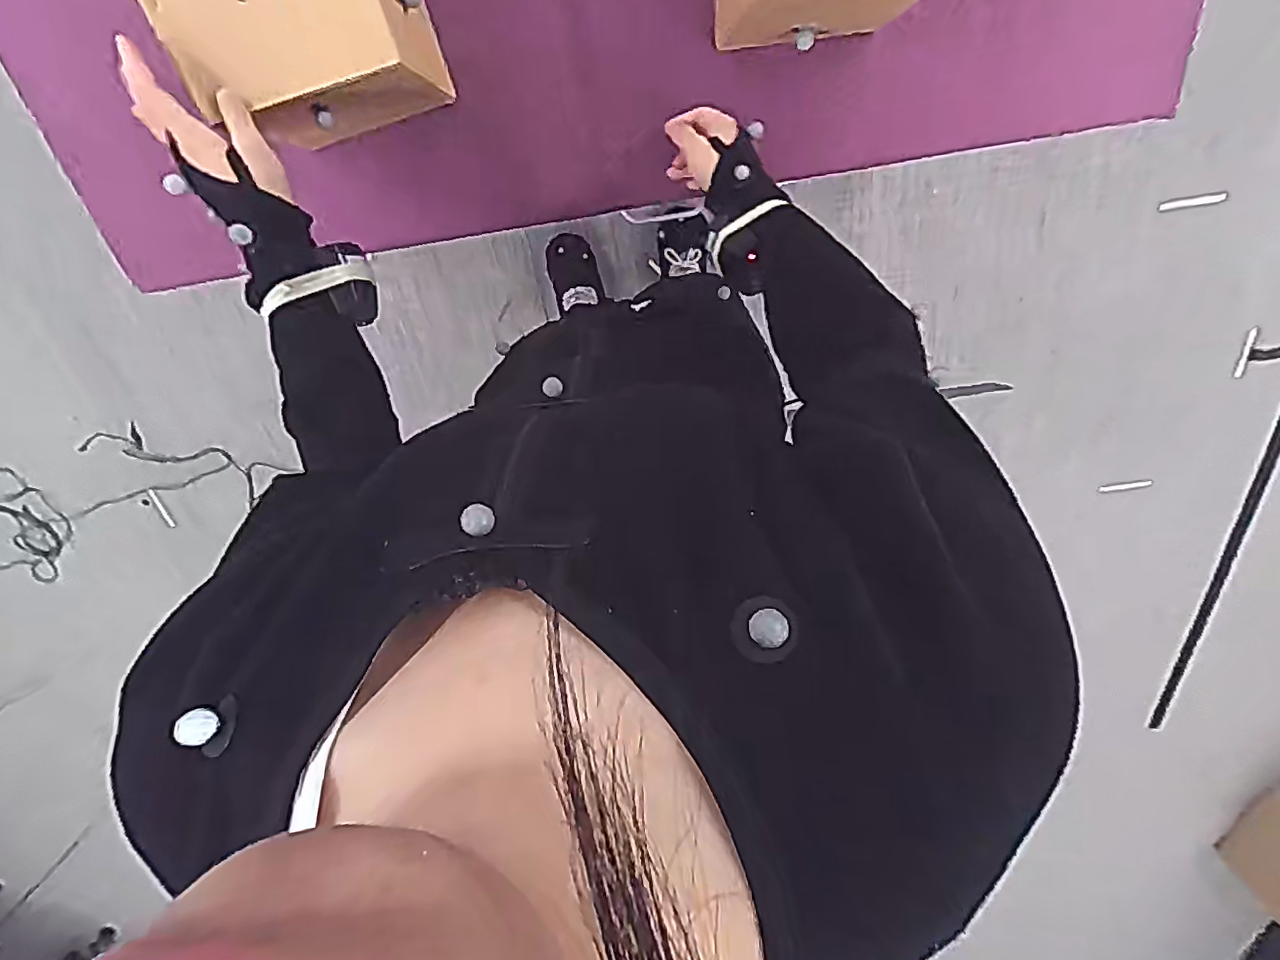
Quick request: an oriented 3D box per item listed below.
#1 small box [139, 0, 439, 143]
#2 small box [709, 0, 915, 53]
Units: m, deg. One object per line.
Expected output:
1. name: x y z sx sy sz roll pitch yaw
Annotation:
1. small box: -0.297 -0.416 0.474 0.179 0.176 0.168 -14 117 6
2. small box: 0.147 -0.491 0.449 0.168 0.176 0.179 -6 117 1
